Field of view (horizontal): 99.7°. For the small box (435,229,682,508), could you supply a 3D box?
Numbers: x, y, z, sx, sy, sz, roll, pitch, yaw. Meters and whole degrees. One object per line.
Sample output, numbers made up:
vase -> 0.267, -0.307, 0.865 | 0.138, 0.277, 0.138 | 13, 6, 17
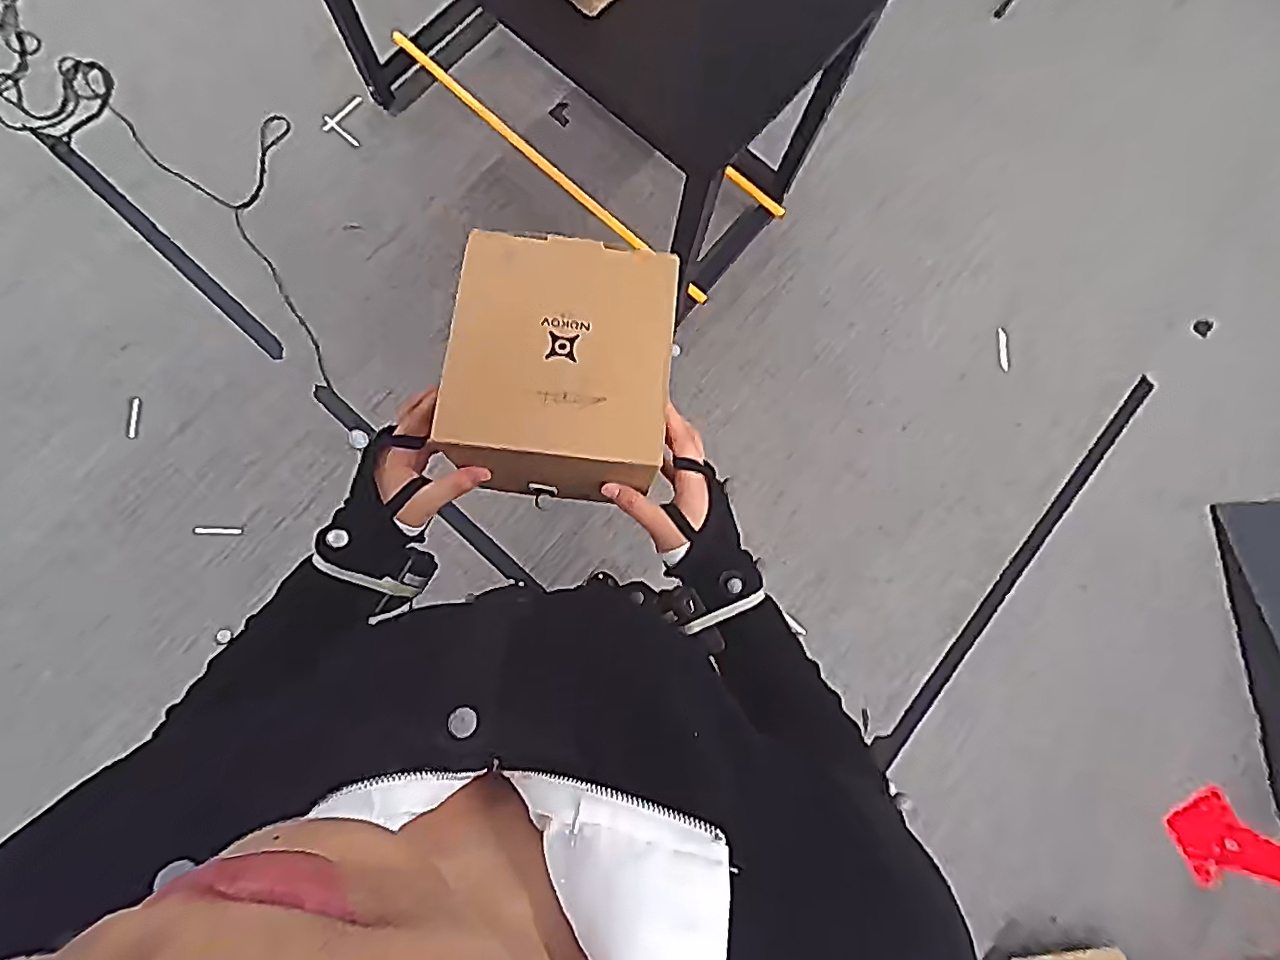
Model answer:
small box -> -0.064, -0.083, 0.479 | 0.168, 0.176, 0.179 | 6, 76, -4
